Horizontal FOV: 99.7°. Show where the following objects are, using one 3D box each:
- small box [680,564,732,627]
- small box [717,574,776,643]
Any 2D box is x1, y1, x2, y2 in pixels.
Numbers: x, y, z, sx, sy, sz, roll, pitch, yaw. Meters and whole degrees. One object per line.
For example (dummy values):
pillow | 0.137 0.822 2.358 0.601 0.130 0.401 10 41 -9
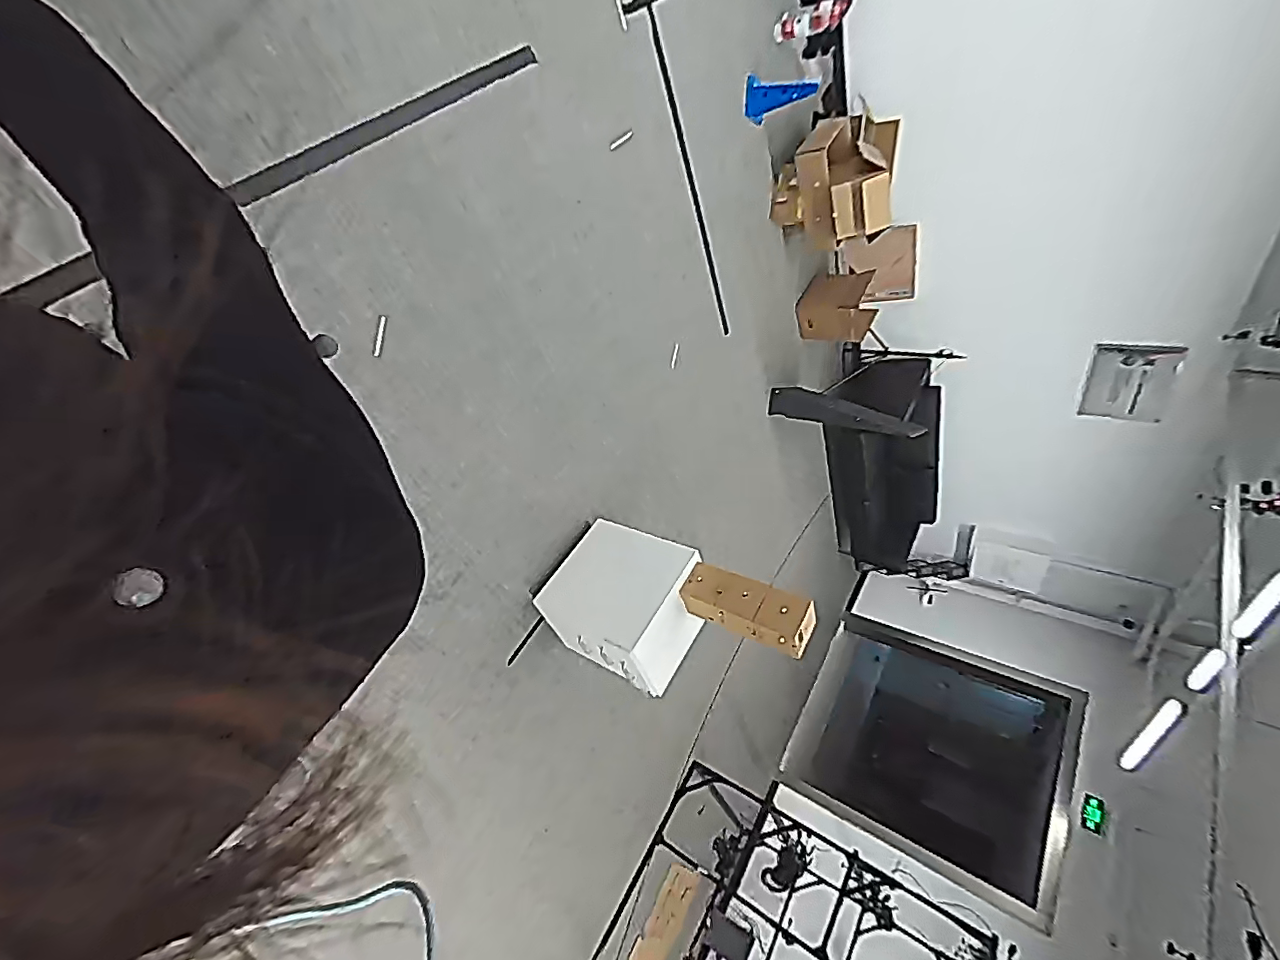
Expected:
small box | 0.290 0.476 2.248 0.168 0.176 0.179 -52 139 -28
small box | 0.418 0.508 2.150 0.179 0.176 0.168 -52 140 -29
